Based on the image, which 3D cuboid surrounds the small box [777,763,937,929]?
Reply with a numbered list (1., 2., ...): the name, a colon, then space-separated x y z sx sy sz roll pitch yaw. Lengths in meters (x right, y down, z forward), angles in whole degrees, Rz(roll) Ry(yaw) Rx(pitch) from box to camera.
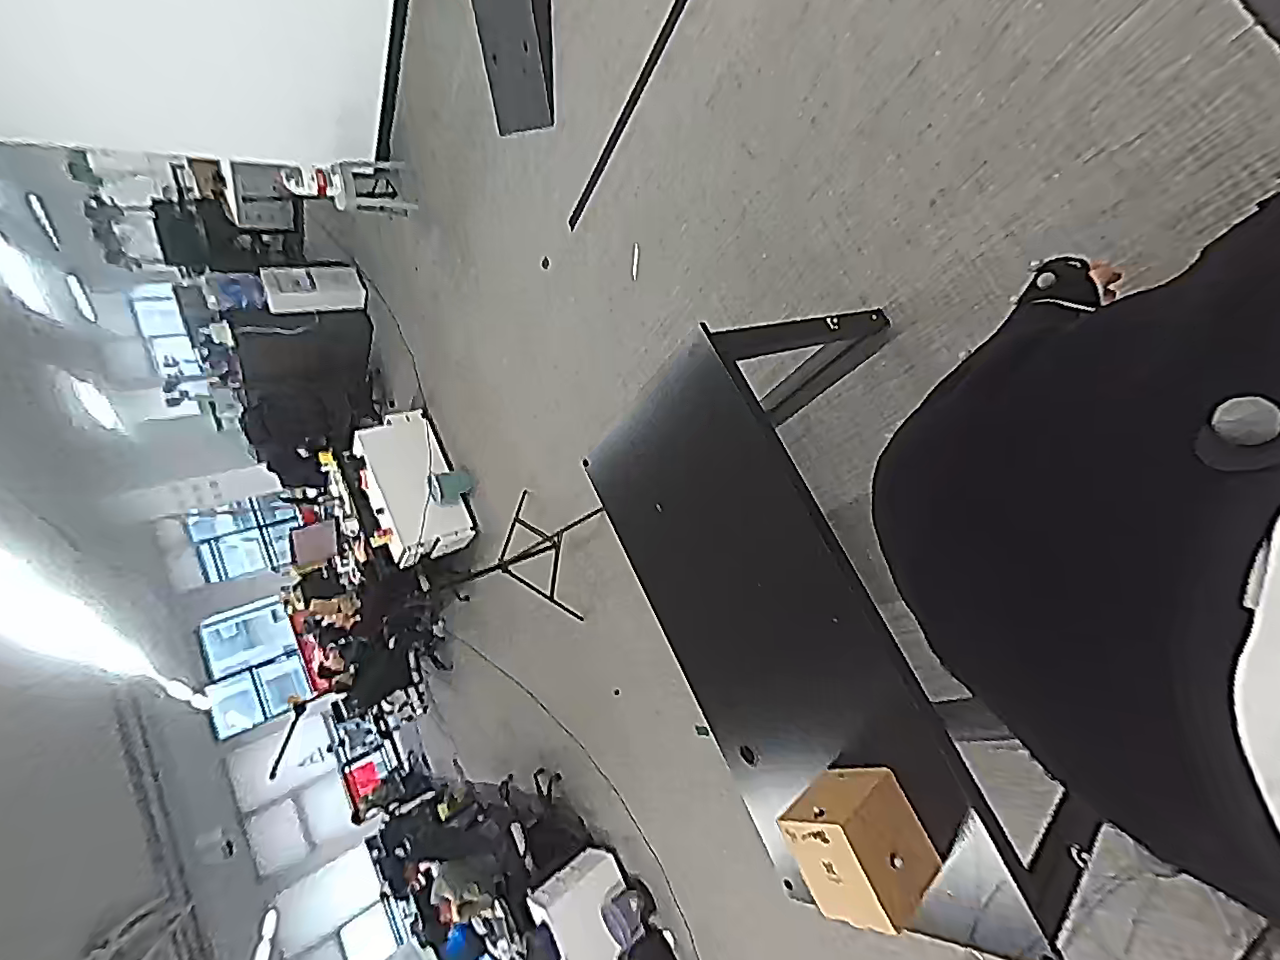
1. small box: 0.390 0.641 0.971 0.179 0.176 0.168 62 143 12
